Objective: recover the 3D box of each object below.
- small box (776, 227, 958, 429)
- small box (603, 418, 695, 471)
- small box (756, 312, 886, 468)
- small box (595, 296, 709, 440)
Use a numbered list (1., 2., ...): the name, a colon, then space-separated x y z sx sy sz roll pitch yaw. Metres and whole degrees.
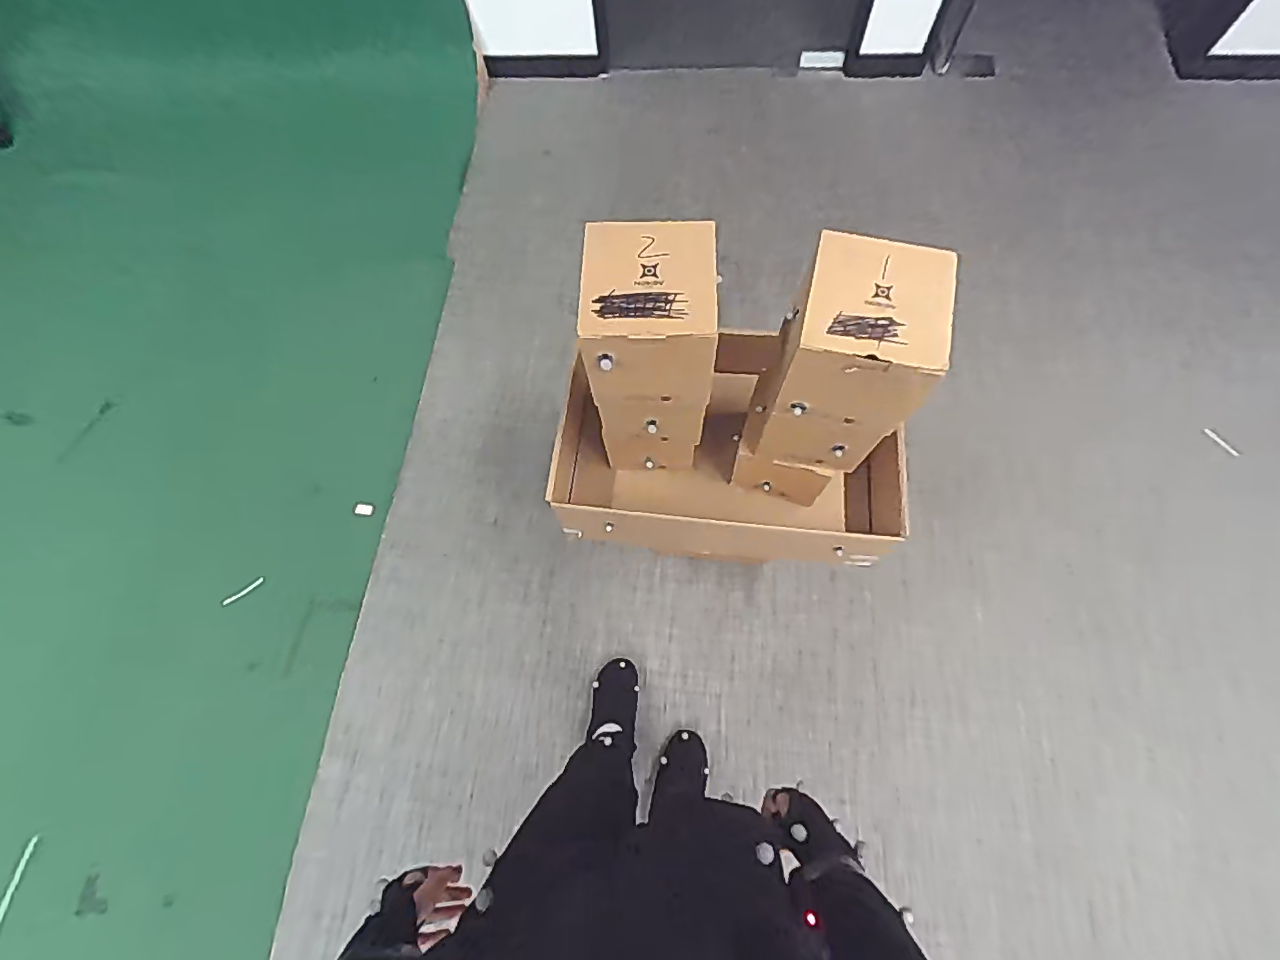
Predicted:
1. small box: 0.283 -0.187 0.704 0.168 0.176 0.179 14 70 7
2. small box: 0.024 -0.133 1.043 0.168 0.176 0.179 2 70 4
3. small box: 0.286 -0.134 0.859 0.168 0.176 0.179 11 71 6
4. small box: 0.024 -0.175 0.884 0.168 0.176 0.179 3 70 3
